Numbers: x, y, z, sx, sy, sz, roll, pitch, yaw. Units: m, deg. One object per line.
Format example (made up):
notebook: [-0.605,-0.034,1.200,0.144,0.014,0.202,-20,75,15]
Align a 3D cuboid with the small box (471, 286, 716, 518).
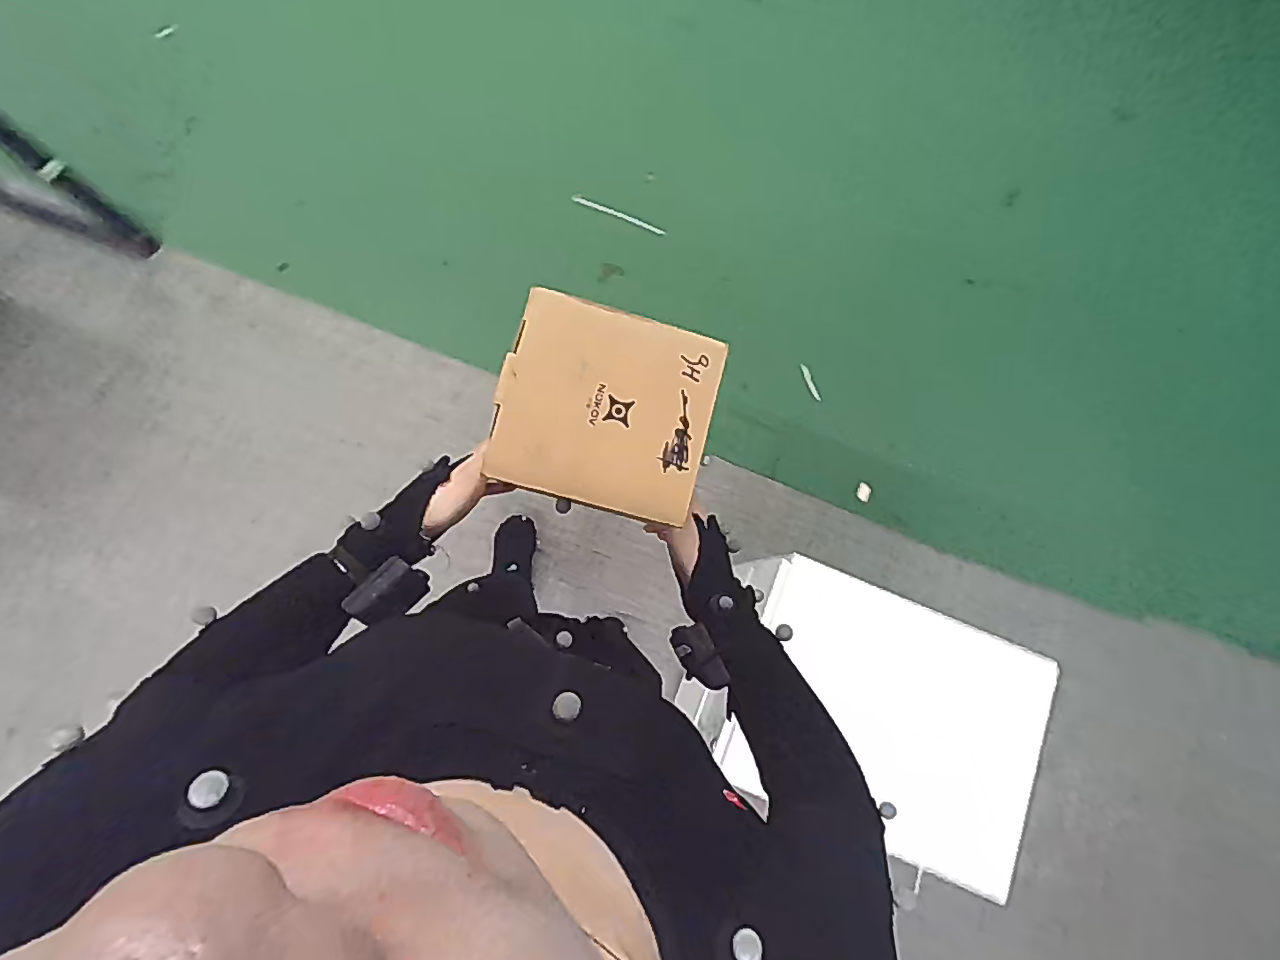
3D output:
small box: [-0.045,-0.060,0.532,0.179,0.176,0.168,14,85,-6]
